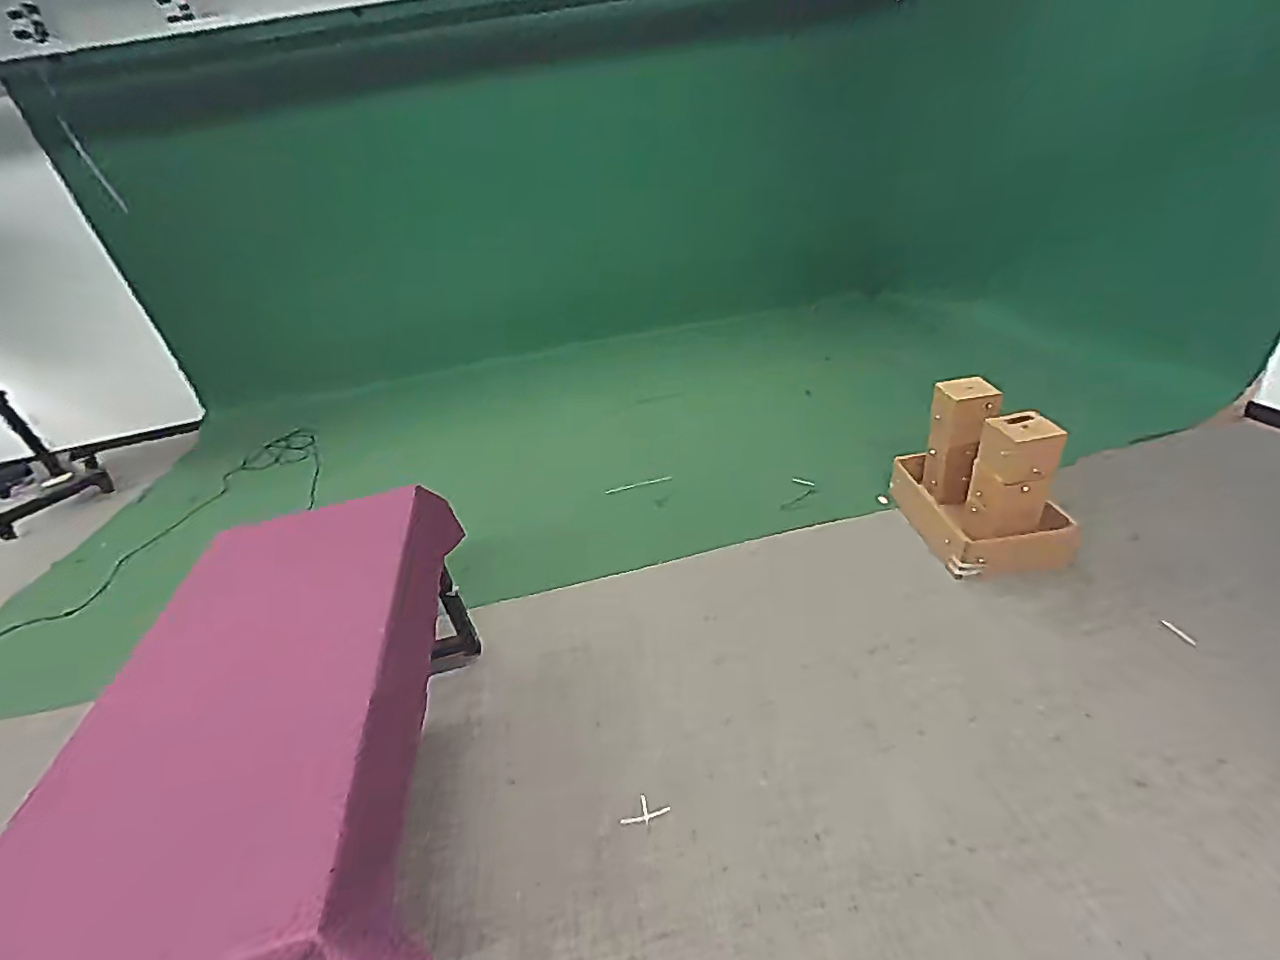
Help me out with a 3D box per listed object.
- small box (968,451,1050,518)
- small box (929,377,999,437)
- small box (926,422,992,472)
[{"bbox_3d":[1.331,0.018,1.964,0.179,0.176,0.168,-10,31,2],"label":"small box"},{"bbox_3d":[1.282,-0.291,2.154,0.179,0.176,0.168,-9,33,4],"label":"small box"},{"bbox_3d":[1.312,-0.153,2.240,0.179,0.176,0.168,-8,33,6],"label":"small box"}]
